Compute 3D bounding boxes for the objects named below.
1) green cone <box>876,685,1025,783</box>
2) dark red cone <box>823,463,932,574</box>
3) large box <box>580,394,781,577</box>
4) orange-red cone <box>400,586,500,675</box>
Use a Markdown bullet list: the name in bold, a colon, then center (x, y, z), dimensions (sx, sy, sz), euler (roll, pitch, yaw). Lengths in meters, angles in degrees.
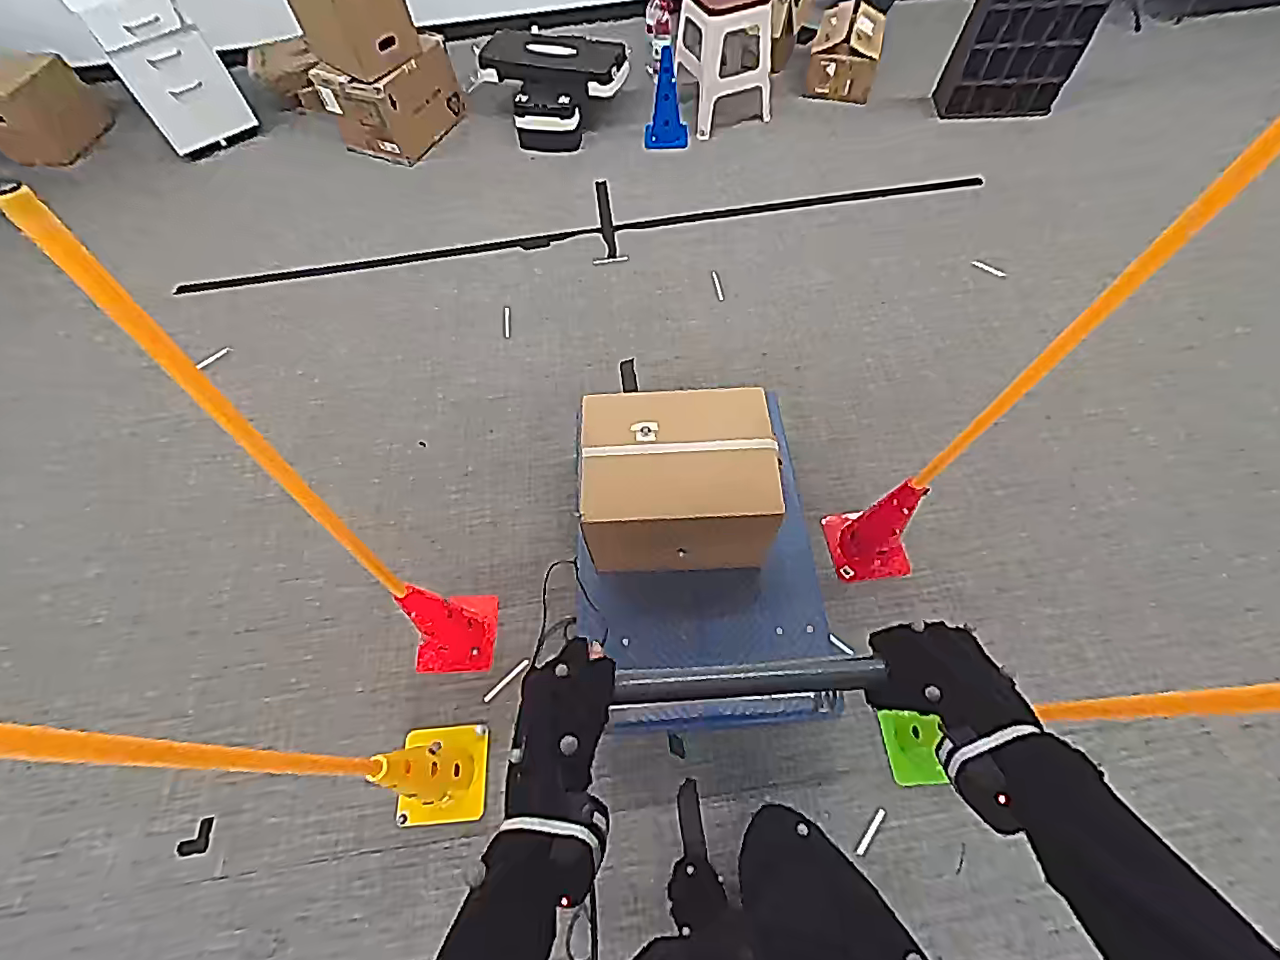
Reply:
- **green cone**: center (0.667, 0.504, 1.116), dimensions (0.202, 0.368, 0.200), euler (-4, 60, 0)
- **dark red cone**: center (0.620, 0.078, 1.344), dimensions (0.201, 0.394, 0.202), euler (-7, 60, -3)
- **large box**: center (0.083, 0.027, 1.263), dimensions (0.408, 0.320, 0.320), euler (-3, 61, 2)
- **orange-red cone**: center (-0.486, 0.328, 1.292), dimensions (0.198, 0.360, 0.199), euler (-1, 59, 2)
